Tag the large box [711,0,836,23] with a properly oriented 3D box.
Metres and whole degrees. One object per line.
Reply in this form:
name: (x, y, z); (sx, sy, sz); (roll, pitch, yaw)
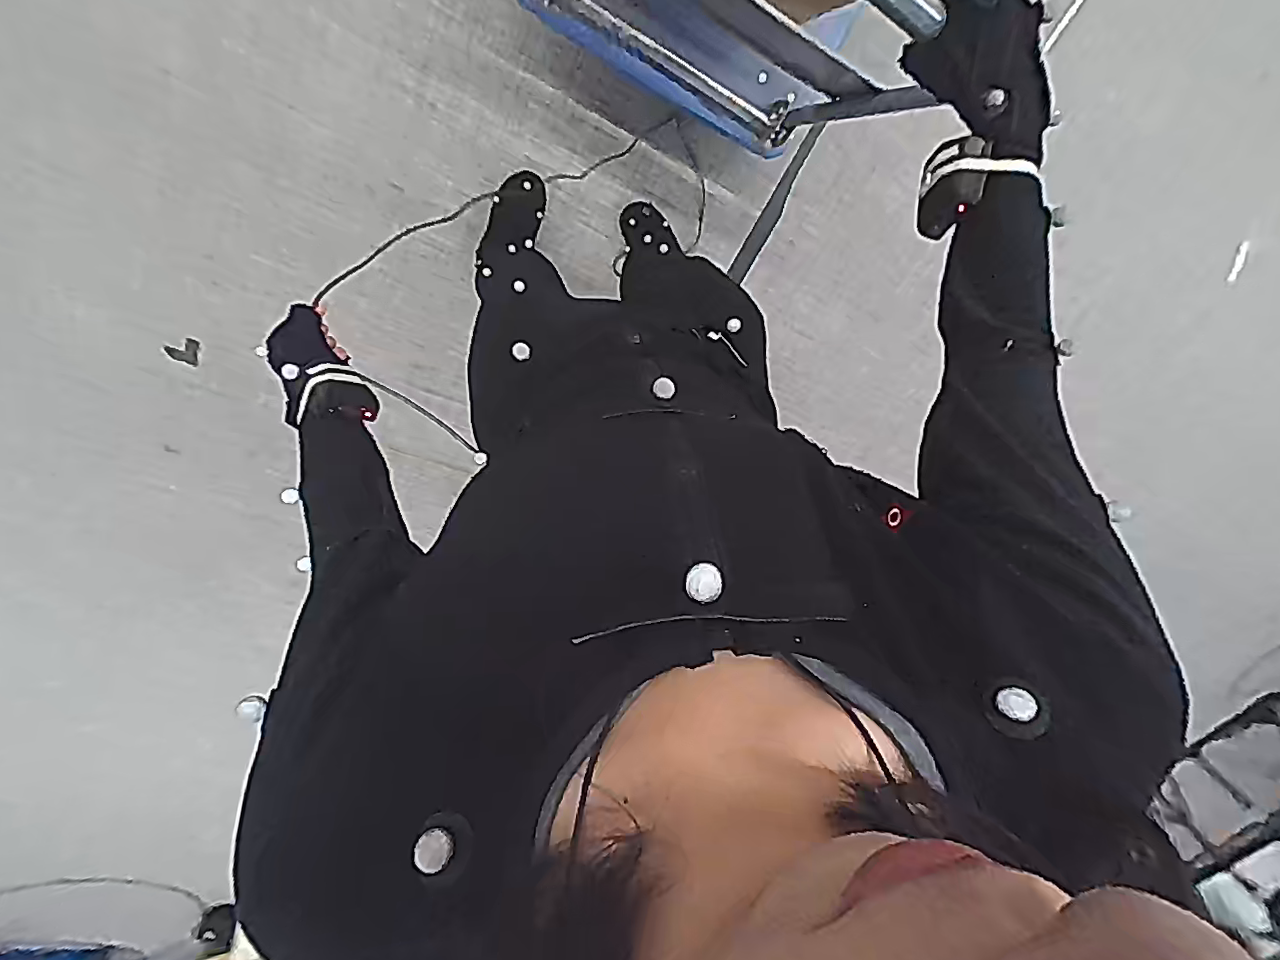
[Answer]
large box: (0.141, -0.909, 0.754); (0.408, 0.320, 0.320); (5, 121, -15)
